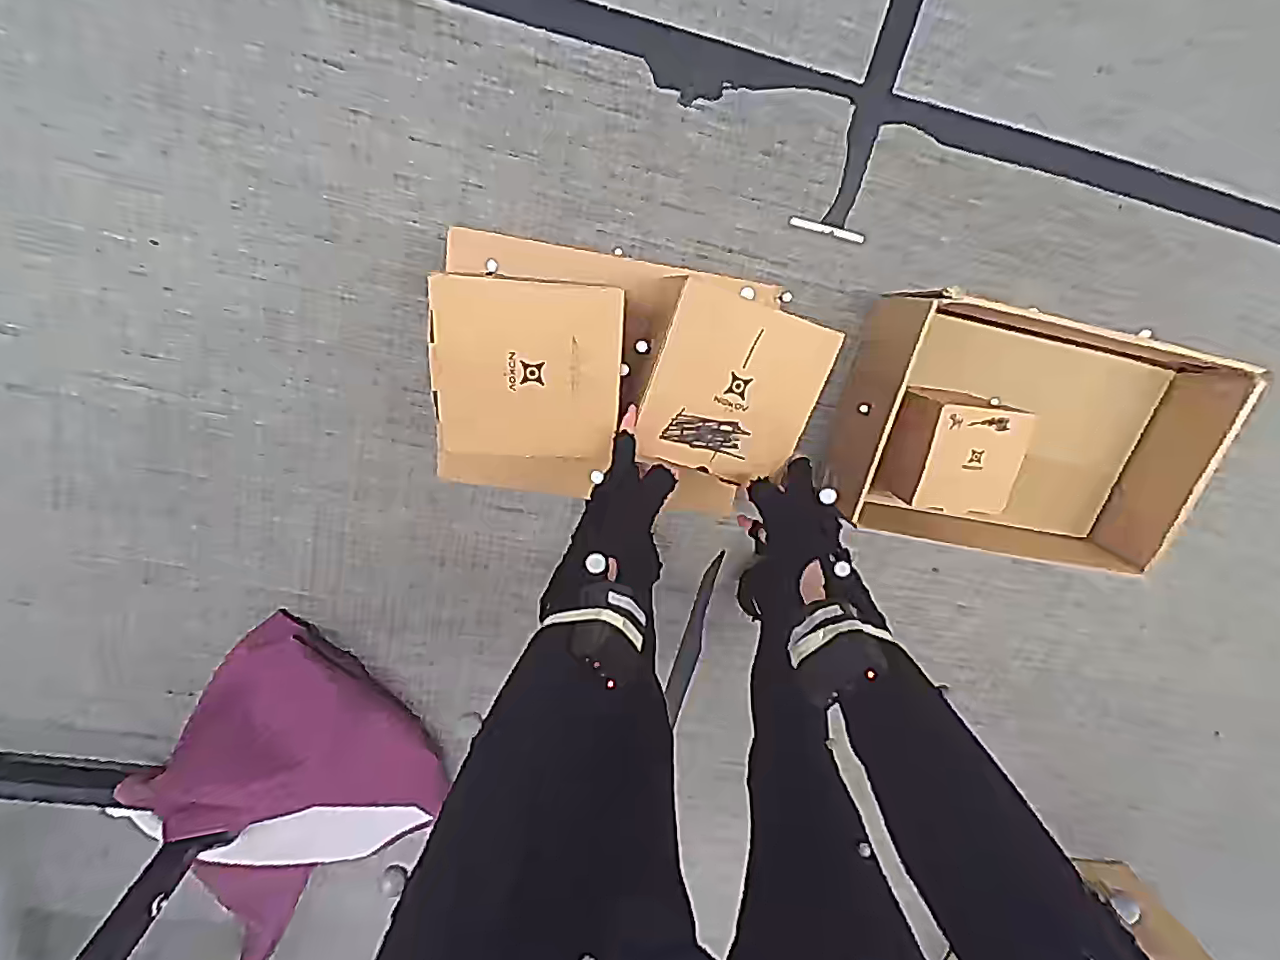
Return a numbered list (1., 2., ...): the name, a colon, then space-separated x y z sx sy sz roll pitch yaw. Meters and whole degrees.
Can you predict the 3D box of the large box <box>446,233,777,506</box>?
1. large box: -0.059 -0.174 0.835 0.408 0.320 0.320 7 110 -8
